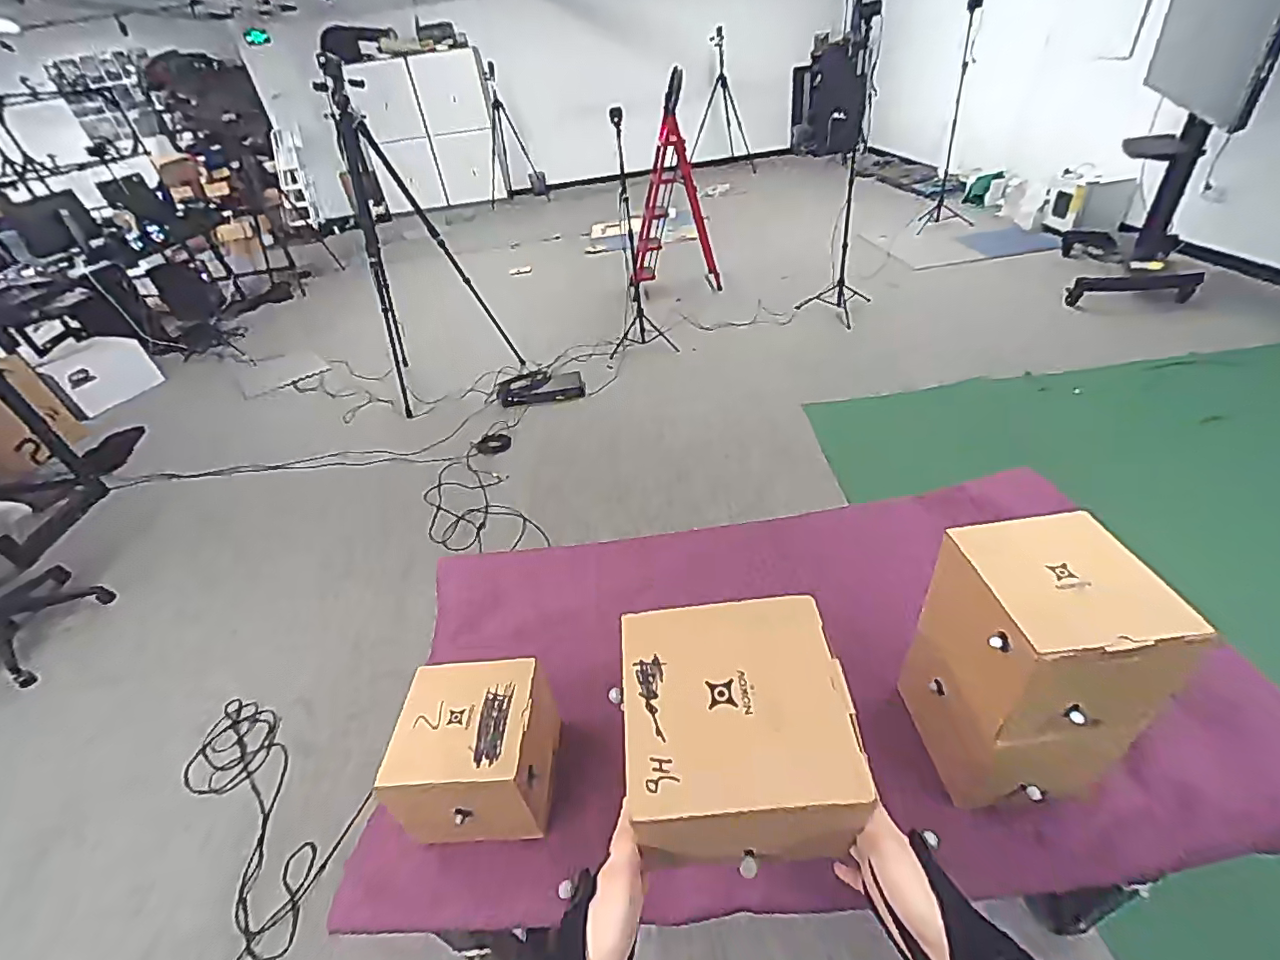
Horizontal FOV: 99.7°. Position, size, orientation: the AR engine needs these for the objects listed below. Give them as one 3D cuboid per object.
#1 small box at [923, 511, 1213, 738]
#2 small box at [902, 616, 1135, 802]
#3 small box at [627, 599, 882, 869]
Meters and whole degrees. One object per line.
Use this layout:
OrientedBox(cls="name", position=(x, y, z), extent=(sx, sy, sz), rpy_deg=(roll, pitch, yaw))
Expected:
OrientedBox(cls="small box", position=(0.453, 0.161, 0.615), extent=(0.168, 0.176, 0.179), rpy_deg=(-8, 38, 1))
OrientedBox(cls="small box", position=(0.470, 0.291, 0.711), extent=(0.168, 0.176, 0.179), rpy_deg=(-8, 38, 2))
OrientedBox(cls="small box", position=(0.083, 0.226, 0.480), extent=(0.179, 0.176, 0.168), rpy_deg=(-6, 43, 2))
